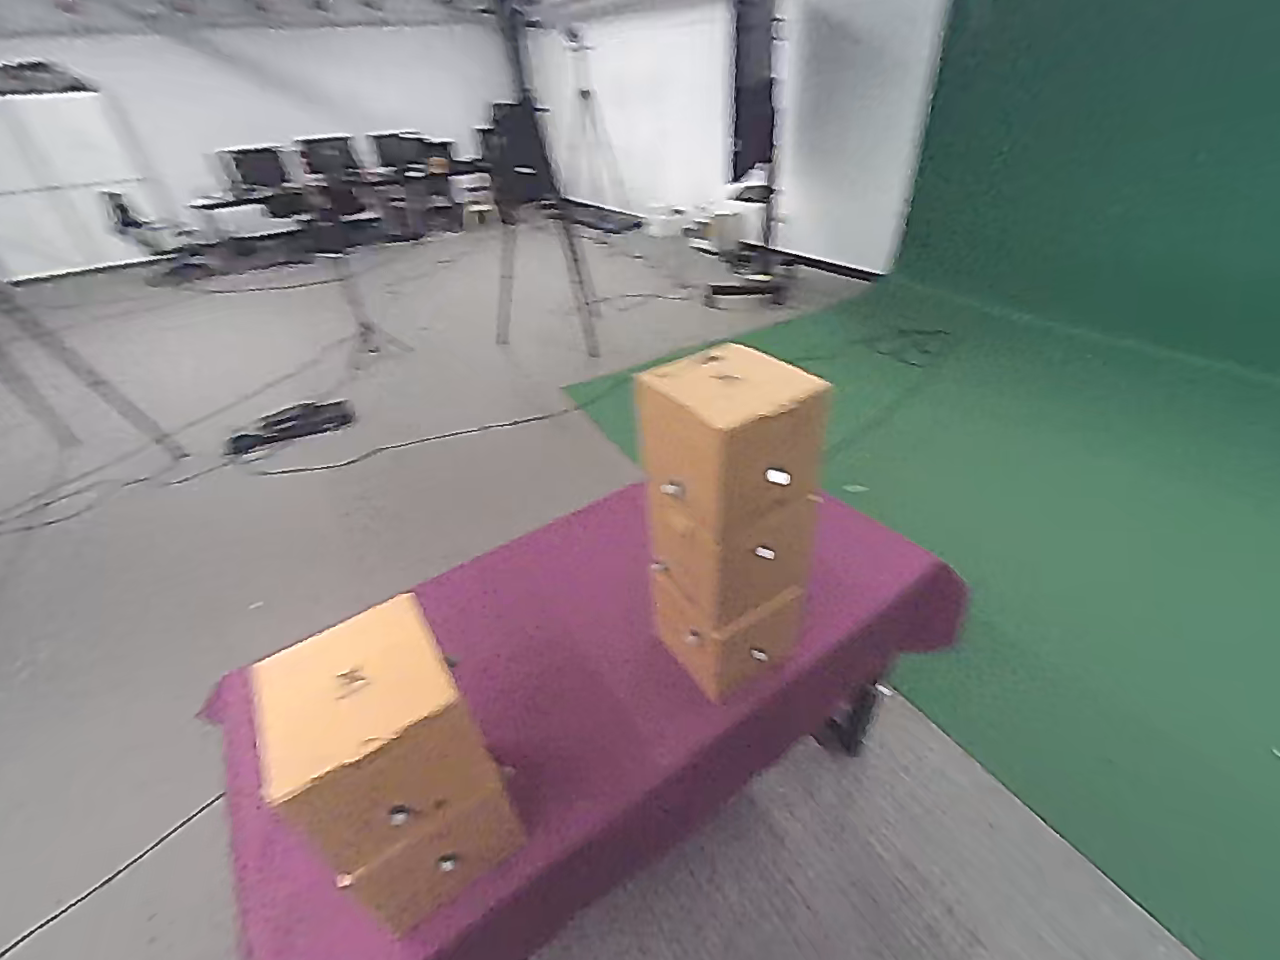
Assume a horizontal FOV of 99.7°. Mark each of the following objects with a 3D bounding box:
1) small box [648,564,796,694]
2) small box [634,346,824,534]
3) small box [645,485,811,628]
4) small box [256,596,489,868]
[{"bbox_3d":[0.130,0.222,0.894,0.168,0.176,0.179,-22,40,-24],"label":"small box"},{"bbox_3d":[0.110,-0.050,0.710,0.168,0.176,0.179,-23,41,-23],"label":"small box"},{"bbox_3d":[0.125,0.085,0.802,0.179,0.176,0.168,-22,40,-24],"label":"small box"},{"bbox_3d":[-0.287,0.270,0.594,0.168,0.176,0.179,-25,42,-26],"label":"small box"}]
